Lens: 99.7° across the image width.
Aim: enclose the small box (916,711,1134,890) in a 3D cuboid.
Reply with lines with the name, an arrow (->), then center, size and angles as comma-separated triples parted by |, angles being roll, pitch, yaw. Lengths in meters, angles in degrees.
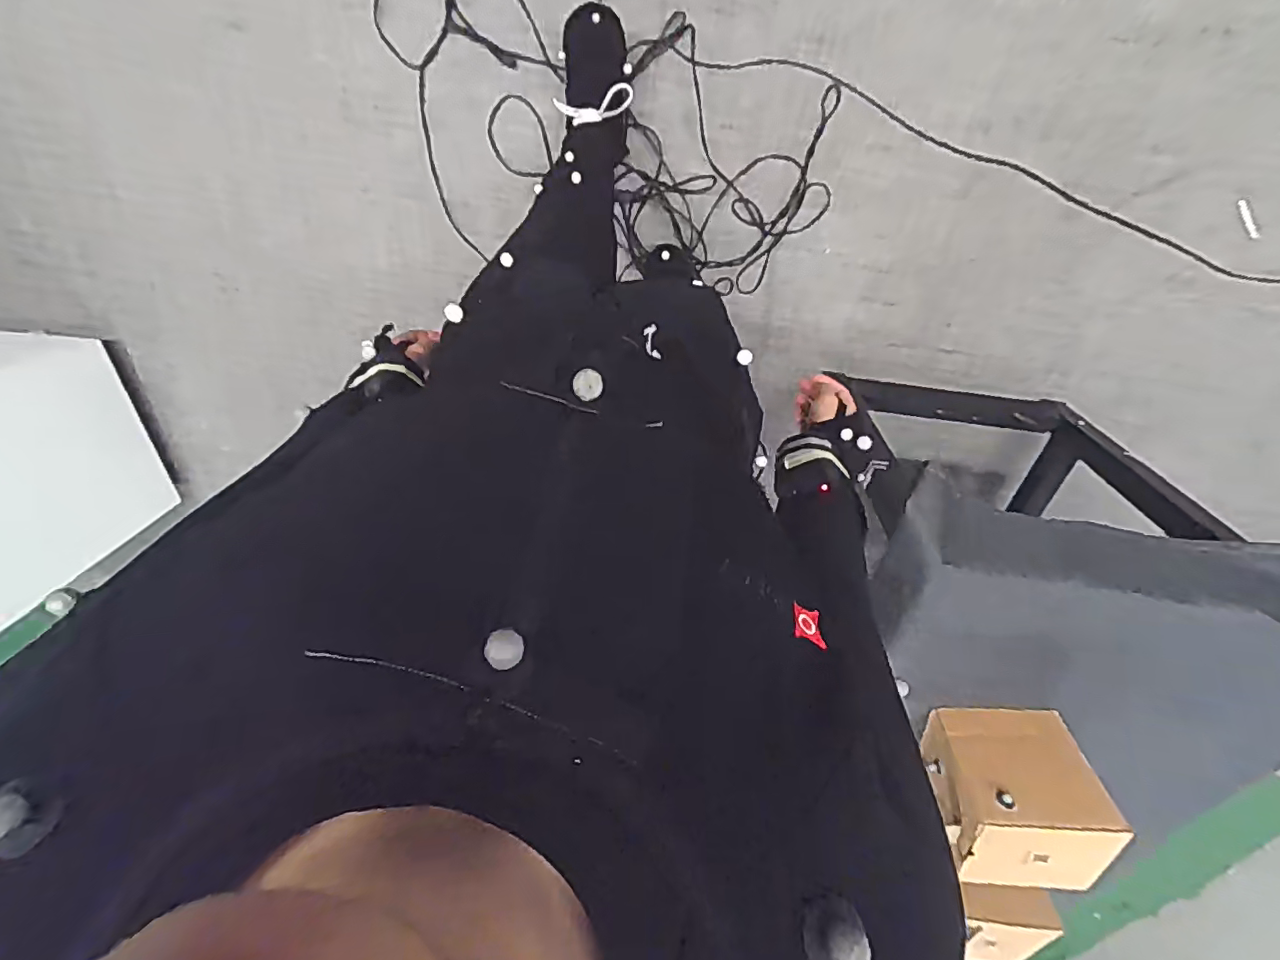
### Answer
small box -> 0.527, 0.452, 0.774 | 0.179, 0.176, 0.168 | -1, 123, 7
